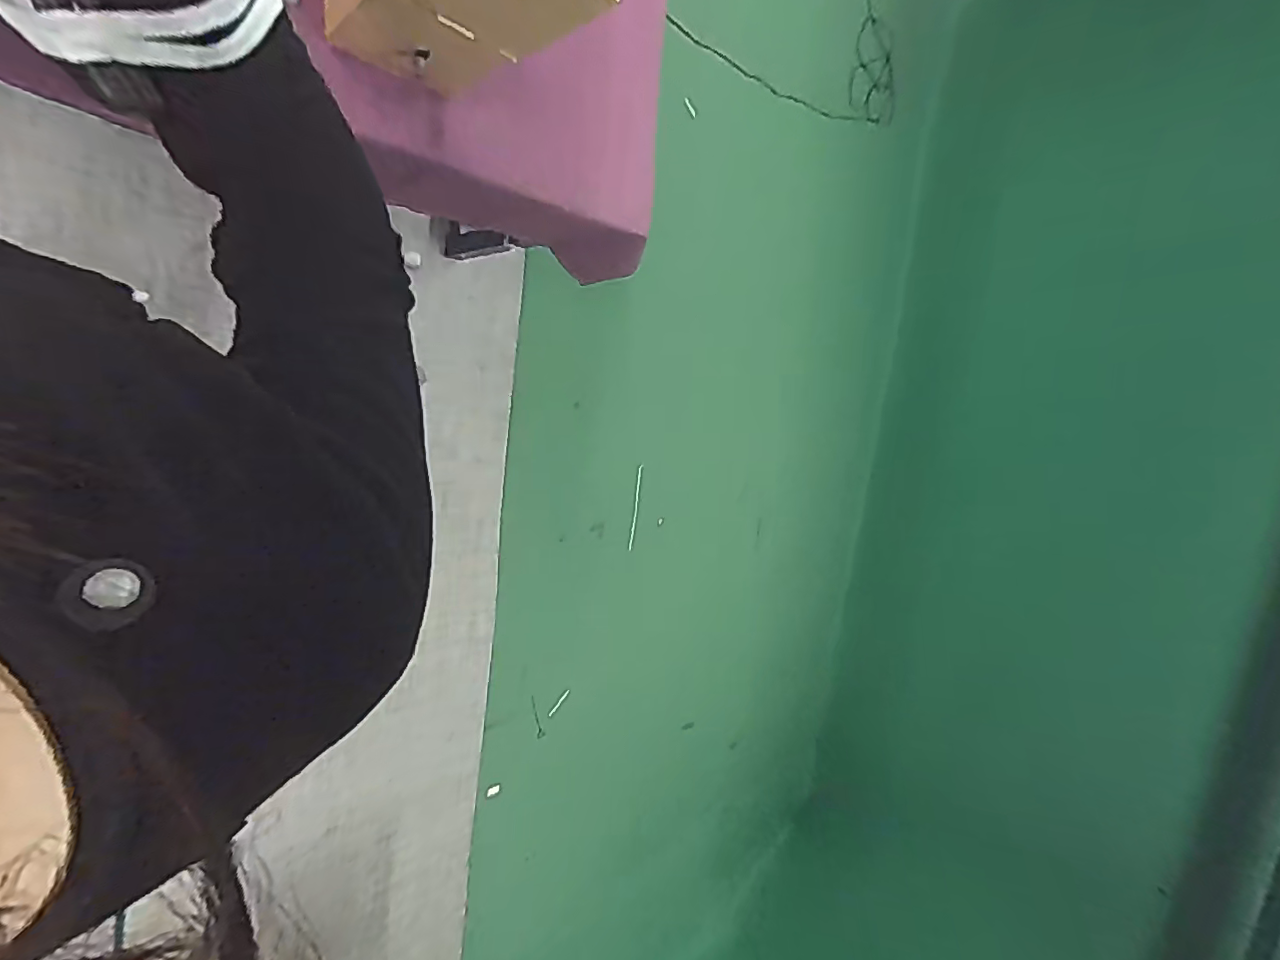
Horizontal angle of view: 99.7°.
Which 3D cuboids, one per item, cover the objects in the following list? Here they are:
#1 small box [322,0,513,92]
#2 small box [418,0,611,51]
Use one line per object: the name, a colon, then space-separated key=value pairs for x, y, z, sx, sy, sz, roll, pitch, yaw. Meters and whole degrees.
small box: x=-0.261 y=-0.600 z=0.636 sx=0.168 sy=0.176 sz=0.179 roll=-7 pitch=106 yaw=-47
small box: x=-0.140 y=-0.568 z=0.528 sx=0.179 sy=0.176 sz=0.168 roll=-8 pitch=106 yaw=-46
